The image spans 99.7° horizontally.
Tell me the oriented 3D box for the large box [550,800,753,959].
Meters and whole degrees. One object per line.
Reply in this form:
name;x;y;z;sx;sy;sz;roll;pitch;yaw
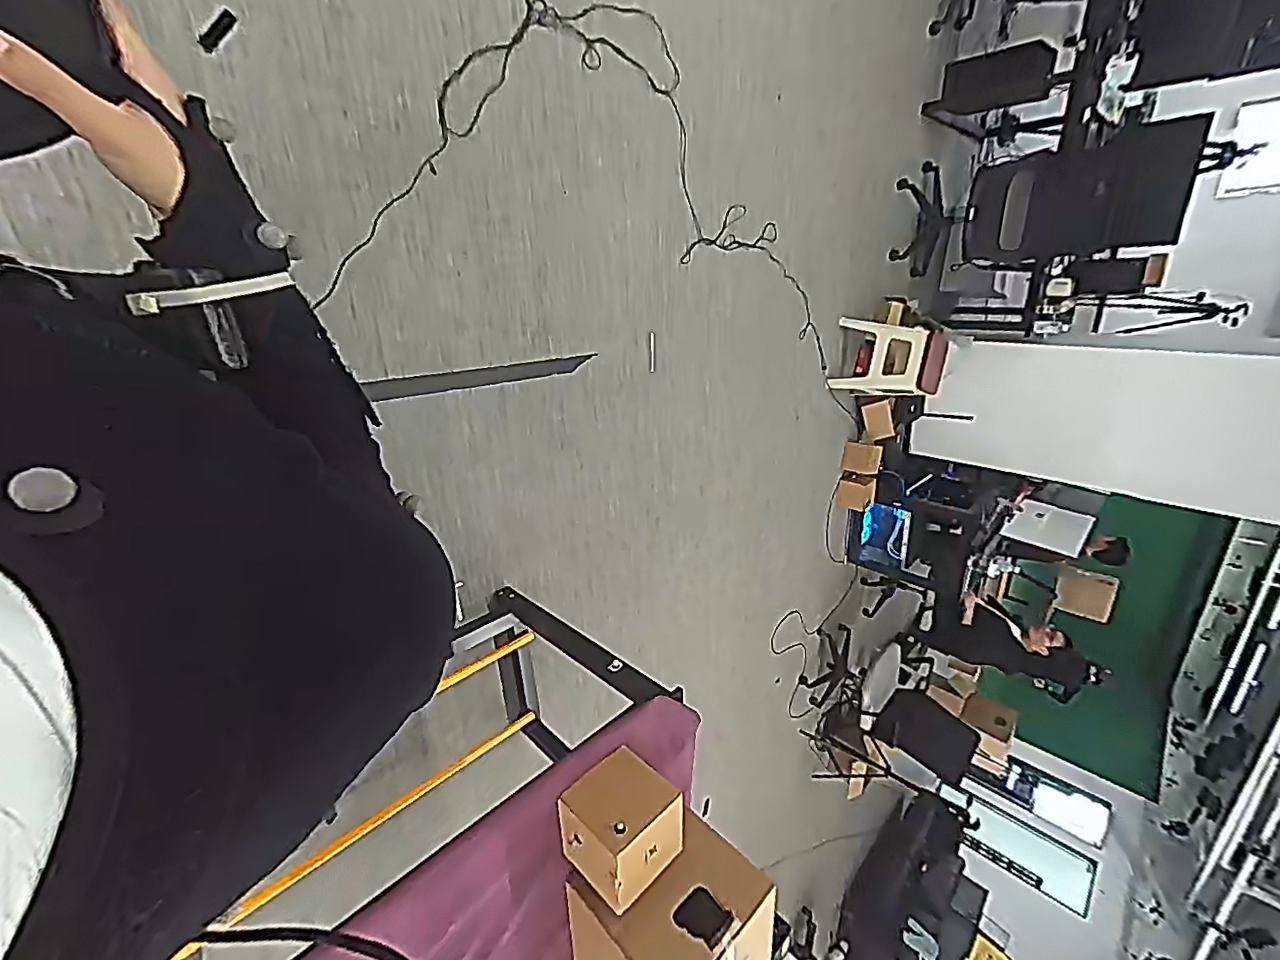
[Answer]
large box;0.029;0.993;1.179;0.320;0.320;0.408;-19;115;-40

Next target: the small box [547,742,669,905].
small box;-0.062;0.665;1.072;0.179;0.176;0.168;-22;120;-40
